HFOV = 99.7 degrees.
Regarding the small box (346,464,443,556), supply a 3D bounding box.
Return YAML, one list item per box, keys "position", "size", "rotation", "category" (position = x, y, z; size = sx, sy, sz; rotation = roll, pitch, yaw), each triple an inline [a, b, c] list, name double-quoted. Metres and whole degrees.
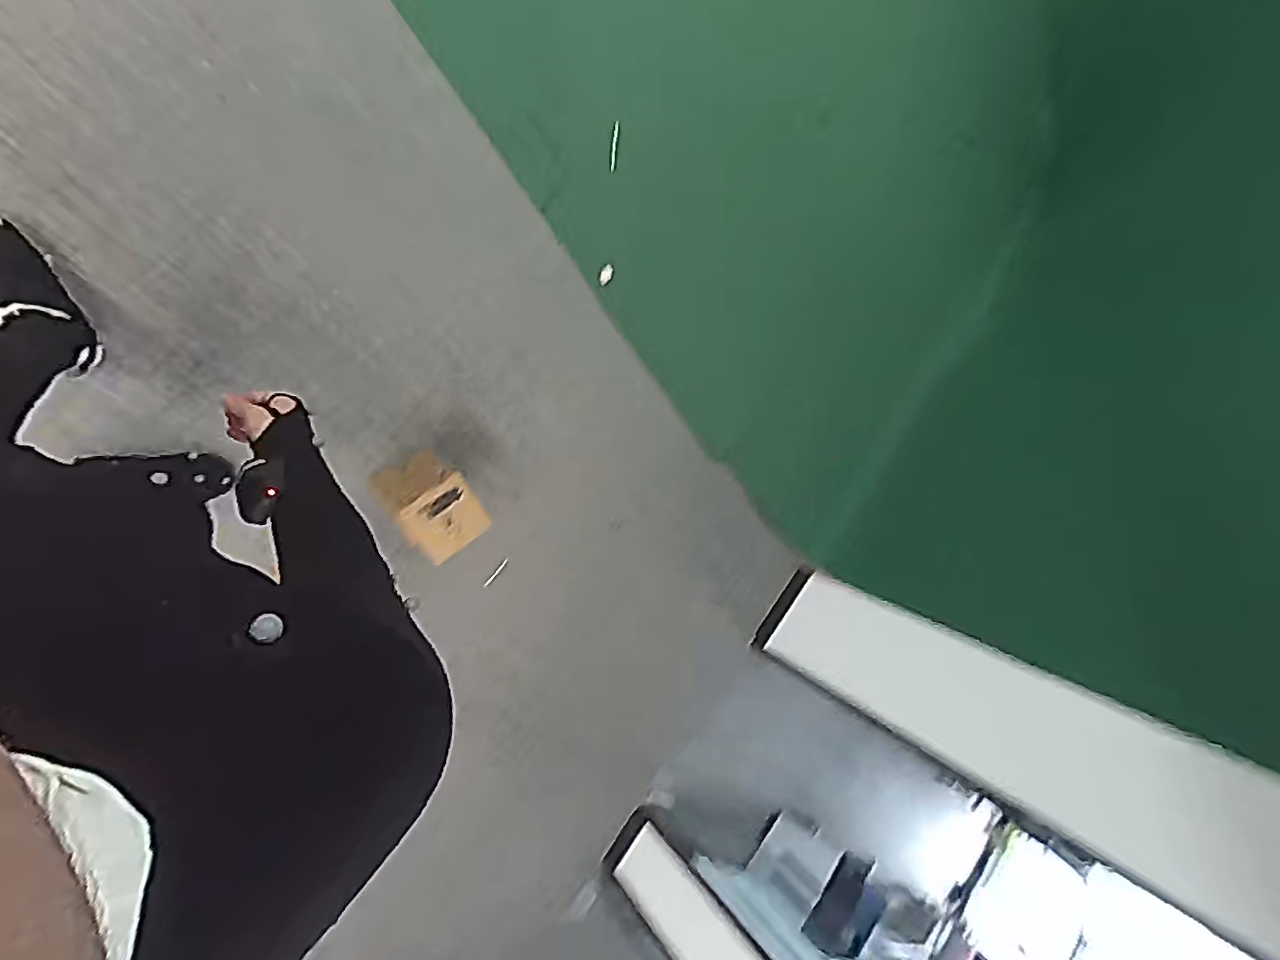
- position: [-0.666, 0.070, 1.461]
  size: [0.168, 0.176, 0.179]
  rotation: [-31, 122, -27]
  category: "small box"
